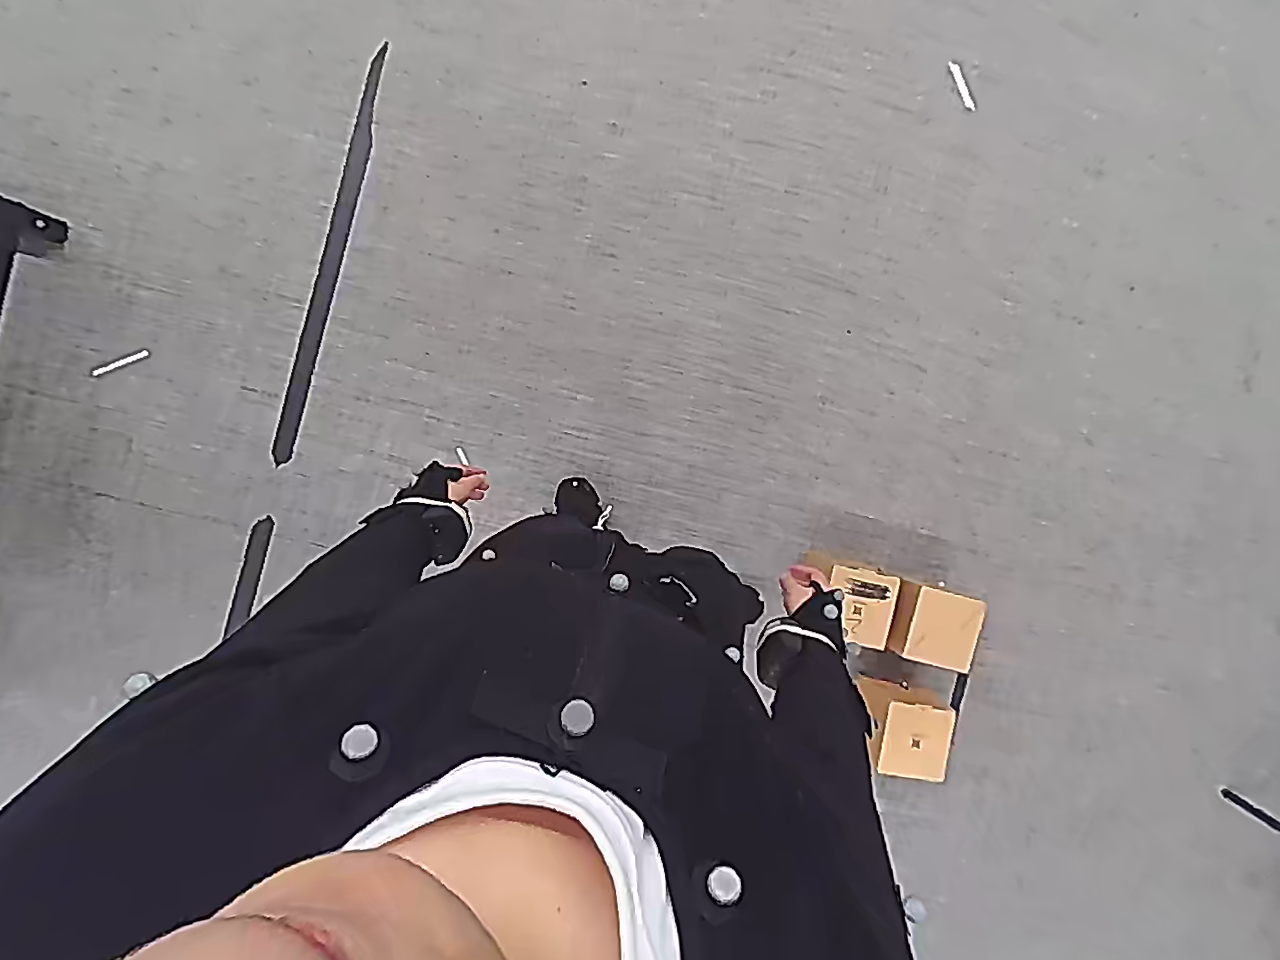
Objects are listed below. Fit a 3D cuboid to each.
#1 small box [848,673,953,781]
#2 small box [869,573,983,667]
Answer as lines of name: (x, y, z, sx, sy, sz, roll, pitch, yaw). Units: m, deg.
small box: (0.641, 0.610, 1.351, 0.168, 0.176, 0.179, 10, 91, -3)
small box: (0.704, 0.347, 1.341, 0.168, 0.176, 0.179, 15, 91, -4)
